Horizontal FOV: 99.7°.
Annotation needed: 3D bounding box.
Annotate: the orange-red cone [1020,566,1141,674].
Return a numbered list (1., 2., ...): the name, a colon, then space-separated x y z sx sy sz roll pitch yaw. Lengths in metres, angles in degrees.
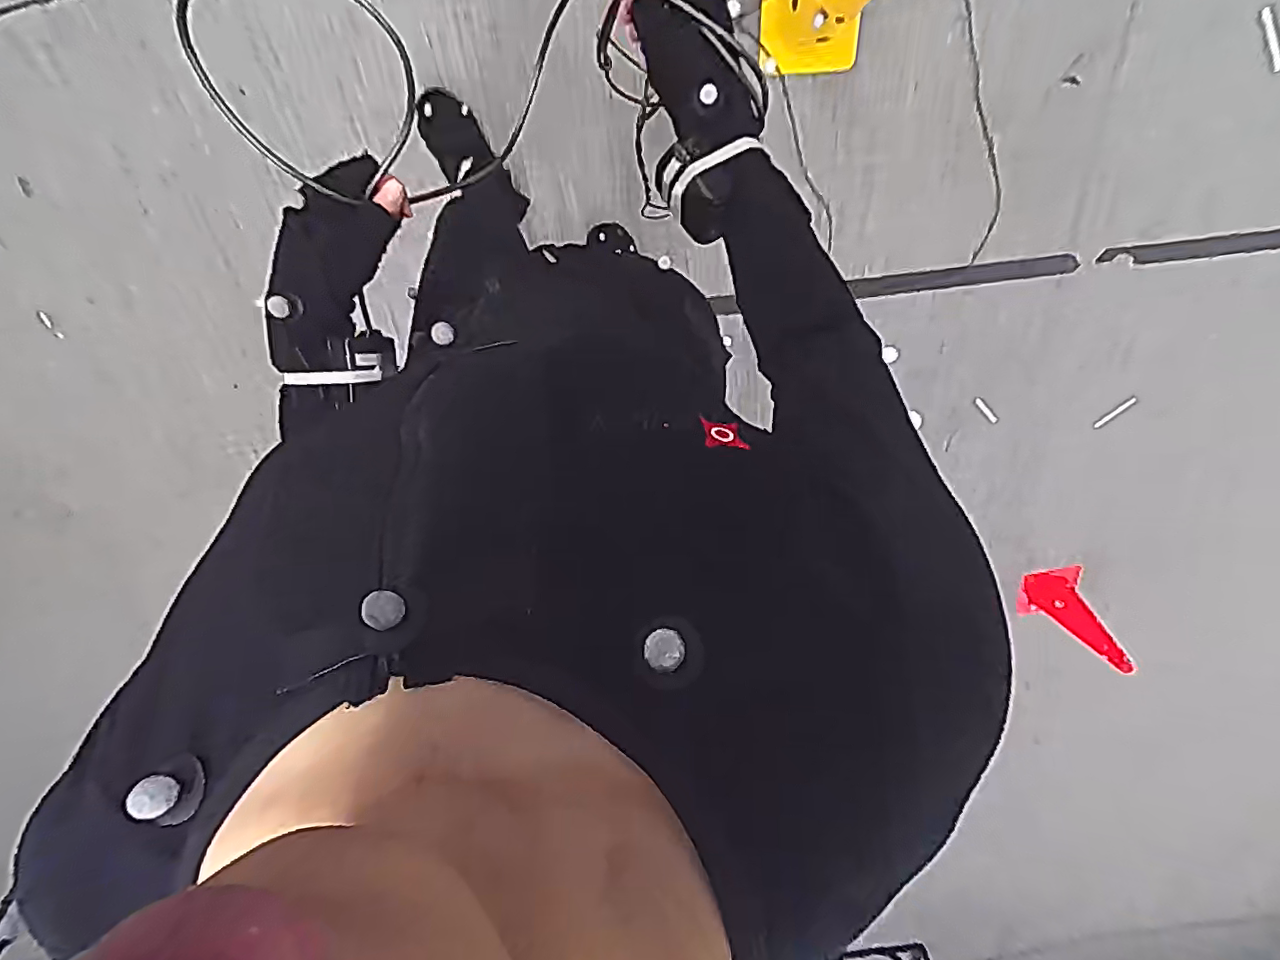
1. orange-red cone: 1.479 0.481 1.776 0.199 0.360 0.198 -12 122 2
